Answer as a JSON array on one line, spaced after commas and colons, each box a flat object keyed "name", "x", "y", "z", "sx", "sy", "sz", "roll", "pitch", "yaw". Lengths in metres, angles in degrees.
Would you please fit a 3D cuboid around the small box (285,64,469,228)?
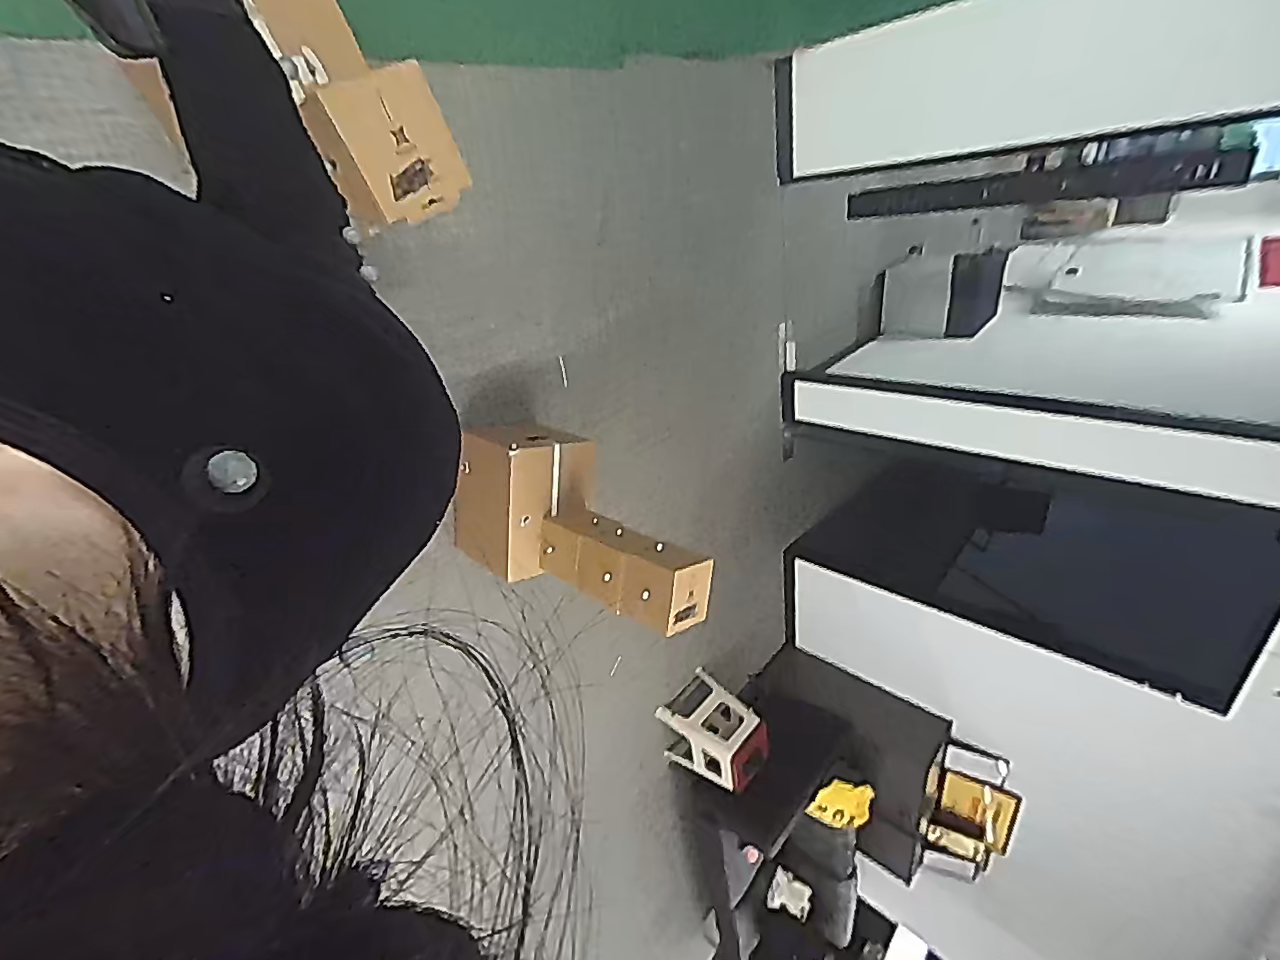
[{"name": "small box", "x": -0.412, "y": -0.514, "z": 0.852, "sx": 0.168, "sy": 0.176, "sz": 0.179, "roll": -43, "pitch": 131, "yaw": -28}]

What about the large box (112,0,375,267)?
[{"name": "large box", "x": -0.717, "y": -0.688, "z": 1.080, "sx": 0.320, "sy": 0.320, "sz": 0.408, "roll": -45, "pitch": 131, "yaw": -29}]

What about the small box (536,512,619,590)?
[{"name": "small box", "x": -0.188, "y": 0.204, "z": 1.617, "sx": 0.179, "sy": 0.176, "sz": 0.168, "roll": -9, "pitch": 111, "yaw": -47}]

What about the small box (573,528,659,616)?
[{"name": "small box", "x": -0.070, "y": 0.251, "z": 1.517, "sx": 0.168, "sy": 0.176, "sz": 0.179, "roll": -8, "pitch": 109, "yaw": -48}]
